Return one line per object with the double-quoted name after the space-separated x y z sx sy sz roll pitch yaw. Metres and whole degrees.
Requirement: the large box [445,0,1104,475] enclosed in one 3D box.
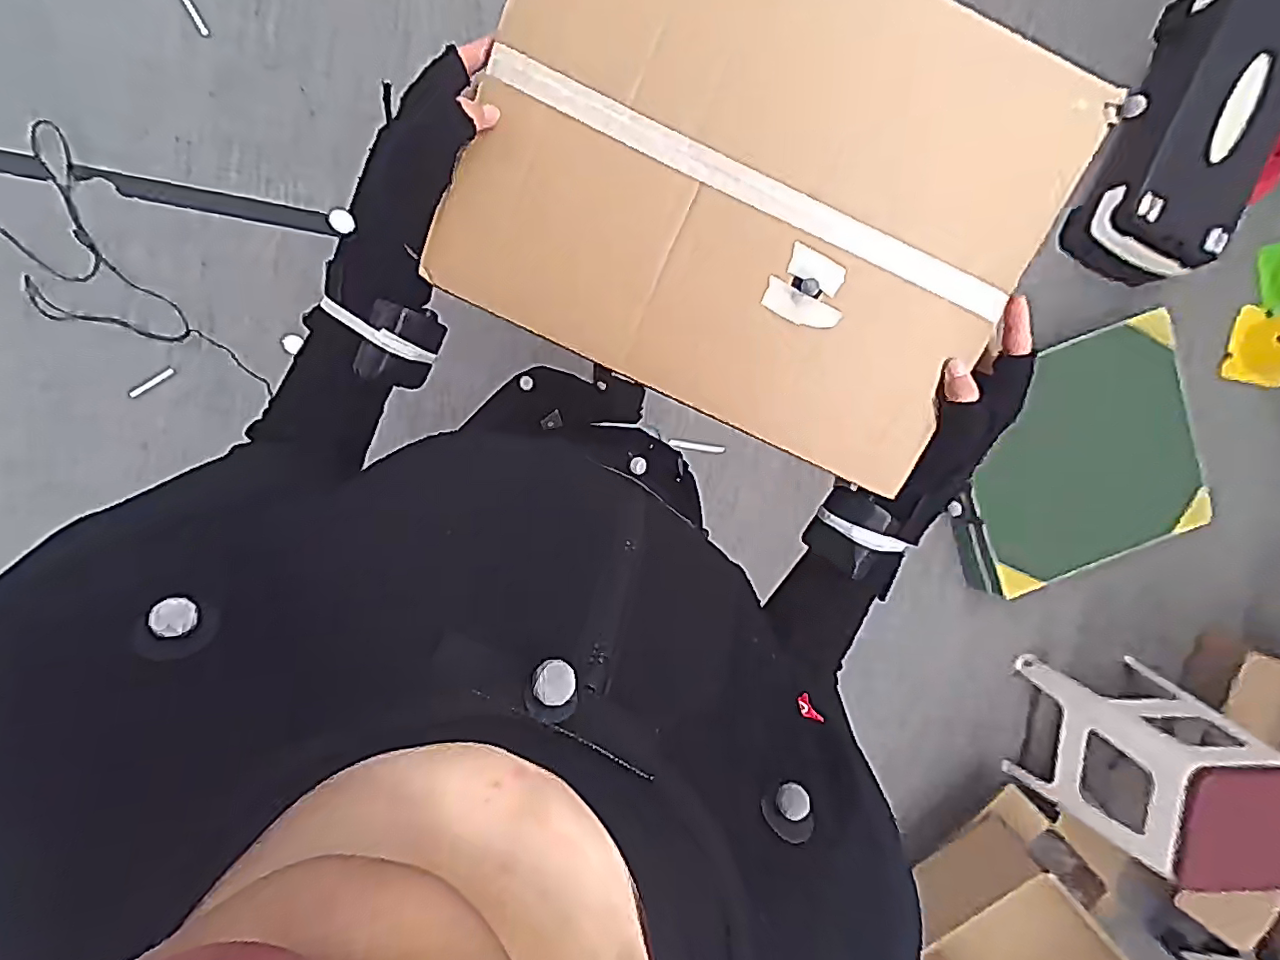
0.091 -0.246 0.545 0.408 0.320 0.320 25 102 -4 "large box"
